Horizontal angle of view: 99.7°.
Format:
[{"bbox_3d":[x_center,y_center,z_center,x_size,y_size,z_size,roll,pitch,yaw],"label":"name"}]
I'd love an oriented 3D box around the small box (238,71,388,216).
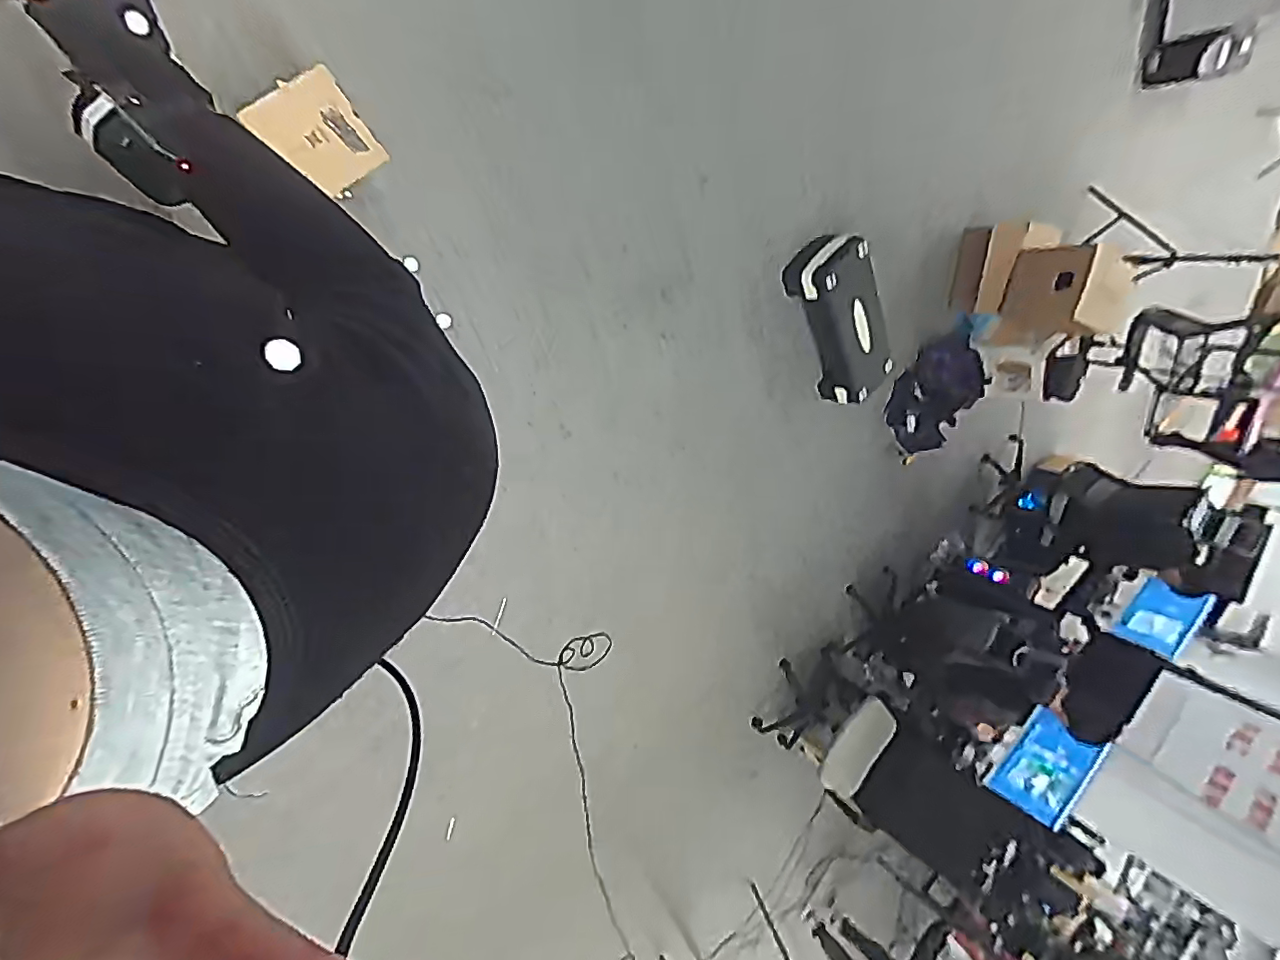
[{"bbox_3d":[-0.616,-0.622,1.017,0.179,0.176,0.168,-43,128,-13],"label":"small box"}]
